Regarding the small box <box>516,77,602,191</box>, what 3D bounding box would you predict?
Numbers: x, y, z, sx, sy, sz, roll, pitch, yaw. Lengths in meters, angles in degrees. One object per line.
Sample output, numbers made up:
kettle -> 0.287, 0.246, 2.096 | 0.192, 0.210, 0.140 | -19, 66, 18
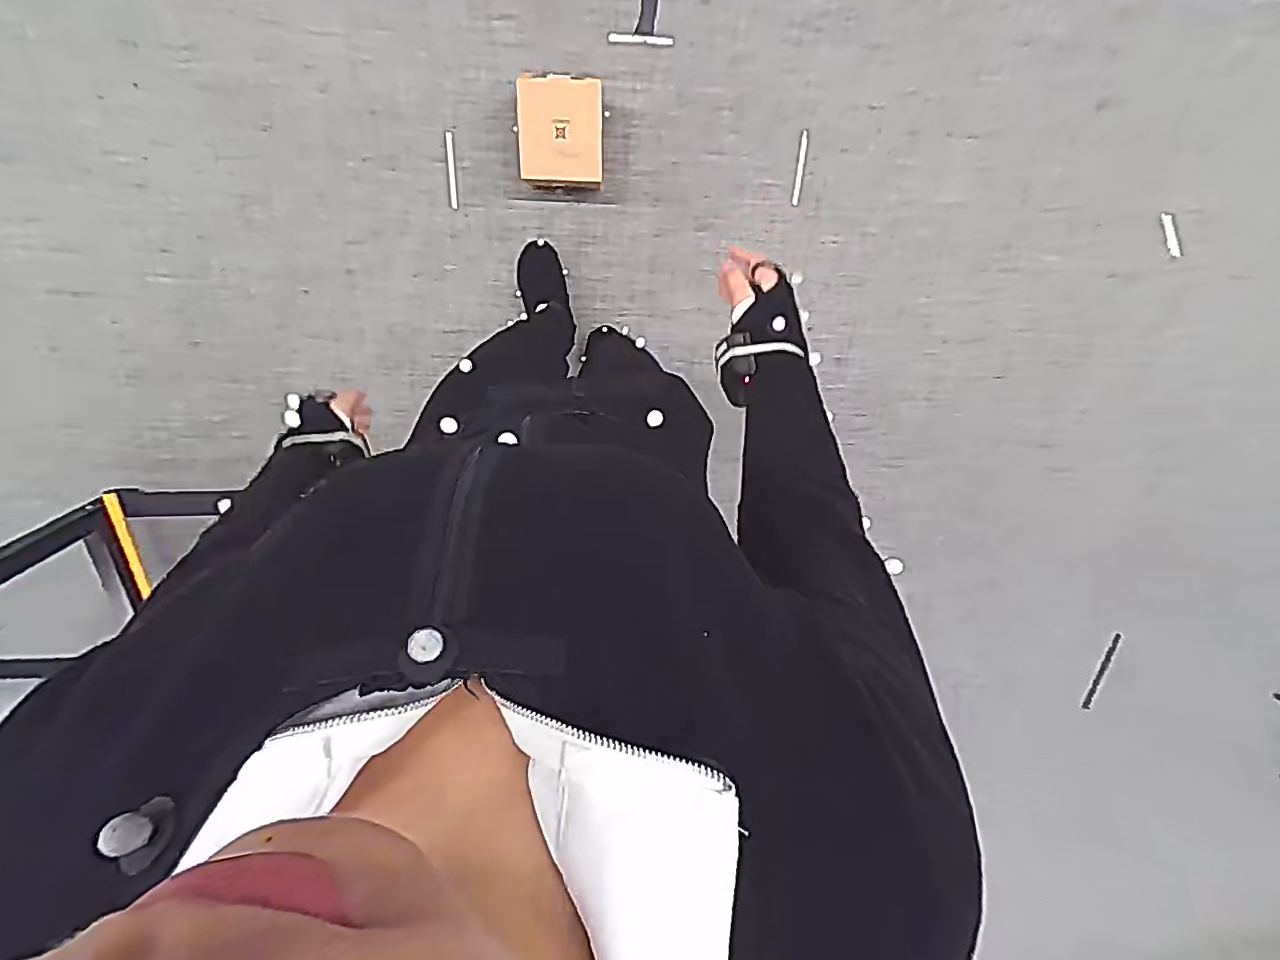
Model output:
small box -> -0.163, -0.715, 1.134 | 0.168, 0.176, 0.179 | 0, 115, -4
